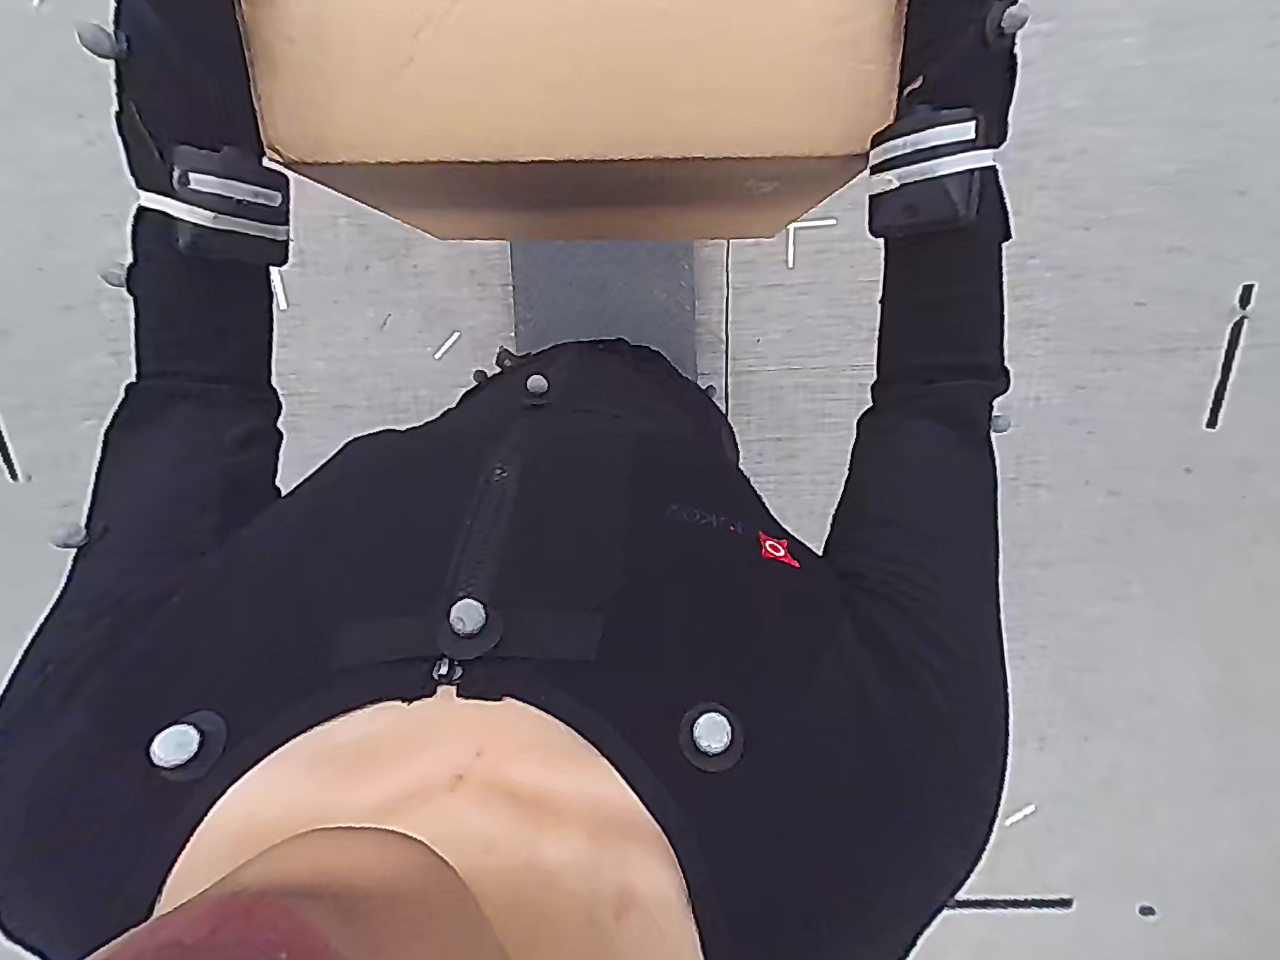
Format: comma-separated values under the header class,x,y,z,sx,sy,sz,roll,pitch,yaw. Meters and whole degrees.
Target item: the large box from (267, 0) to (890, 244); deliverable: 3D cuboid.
class,x,y,z,sx,sy,sz,roll,pitch,yaw
large box,-0.042,-0.403,0.472,0.408,0.320,0.320,-1,105,0
